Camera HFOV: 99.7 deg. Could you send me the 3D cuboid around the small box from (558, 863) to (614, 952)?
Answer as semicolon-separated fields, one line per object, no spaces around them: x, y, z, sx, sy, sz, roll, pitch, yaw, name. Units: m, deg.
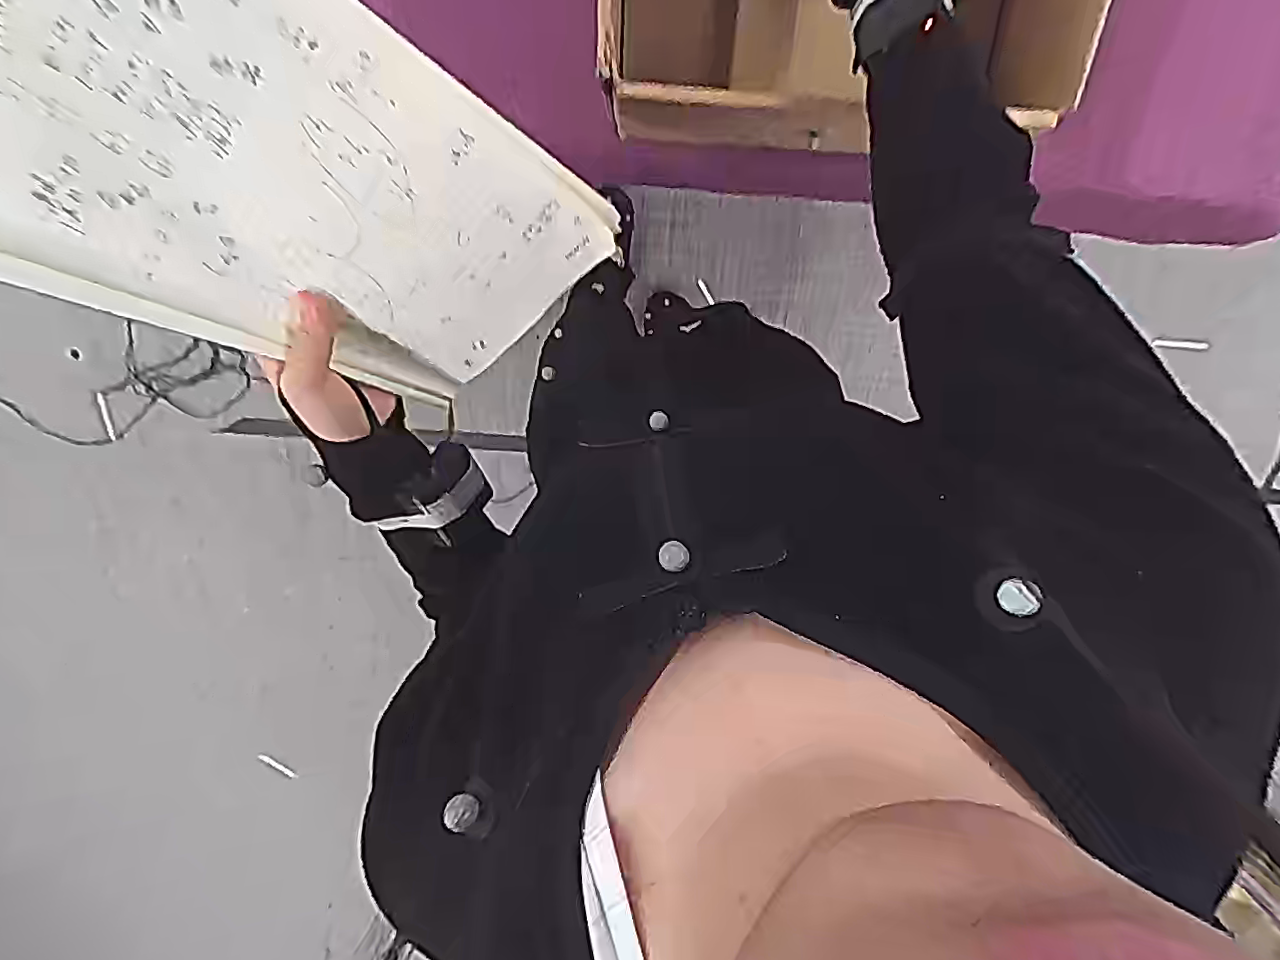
-0.170;1.354;1.718;0.168;0.176;0.179;0;114;-1;small box
